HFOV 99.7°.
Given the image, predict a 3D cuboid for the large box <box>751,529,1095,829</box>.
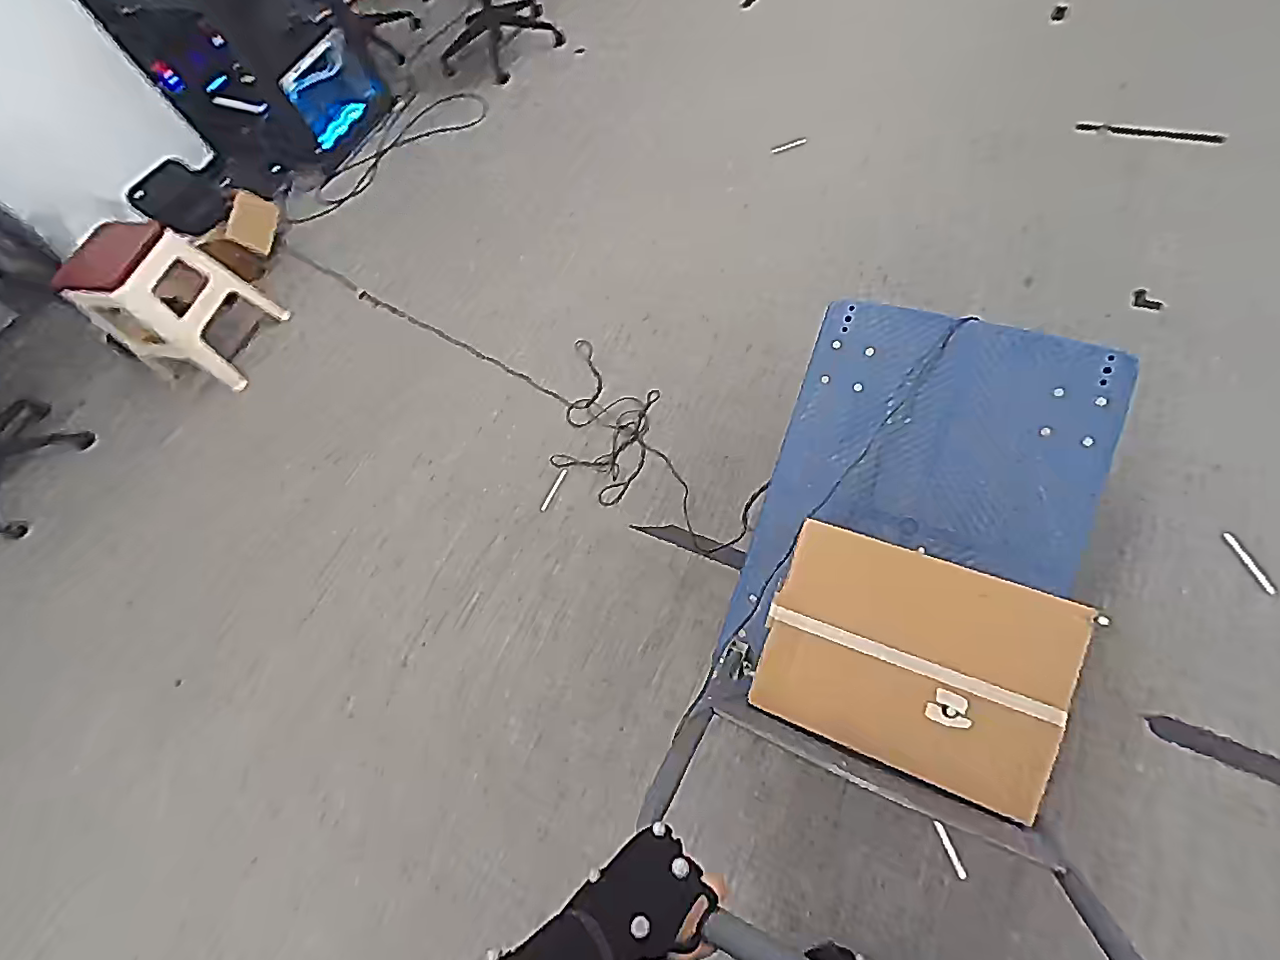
[{"bbox_3d":[0.438,0.293,0.936,0.408,0.320,0.320,18,90,18],"label":"large box"}]
